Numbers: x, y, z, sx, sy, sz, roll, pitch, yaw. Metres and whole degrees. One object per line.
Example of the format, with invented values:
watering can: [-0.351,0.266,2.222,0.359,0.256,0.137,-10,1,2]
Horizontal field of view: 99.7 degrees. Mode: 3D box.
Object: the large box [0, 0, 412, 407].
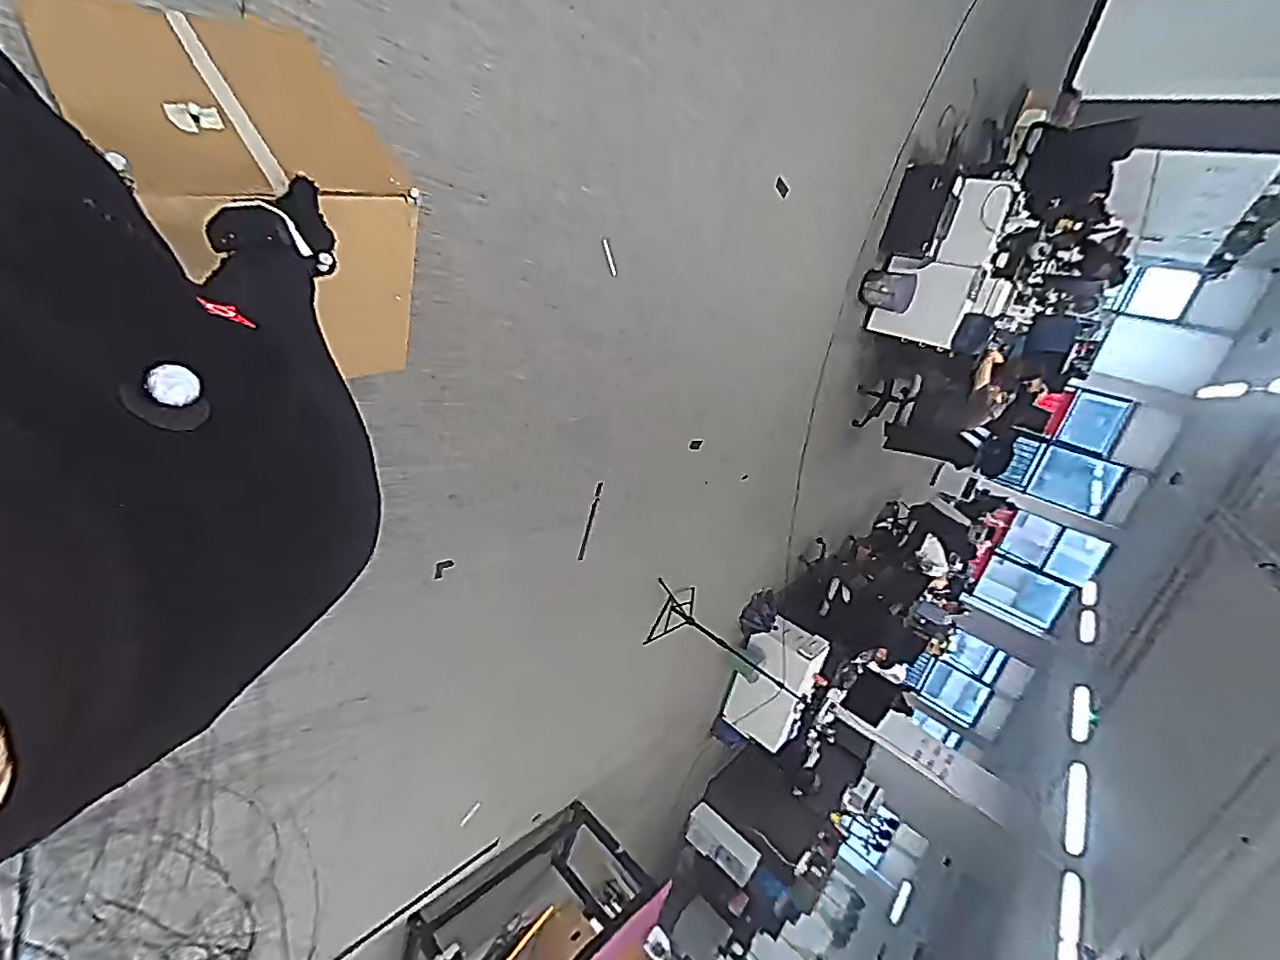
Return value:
large box: [-0.581,-0.377,0.777,0.320,0.408,0.320,-24,160,-37]
